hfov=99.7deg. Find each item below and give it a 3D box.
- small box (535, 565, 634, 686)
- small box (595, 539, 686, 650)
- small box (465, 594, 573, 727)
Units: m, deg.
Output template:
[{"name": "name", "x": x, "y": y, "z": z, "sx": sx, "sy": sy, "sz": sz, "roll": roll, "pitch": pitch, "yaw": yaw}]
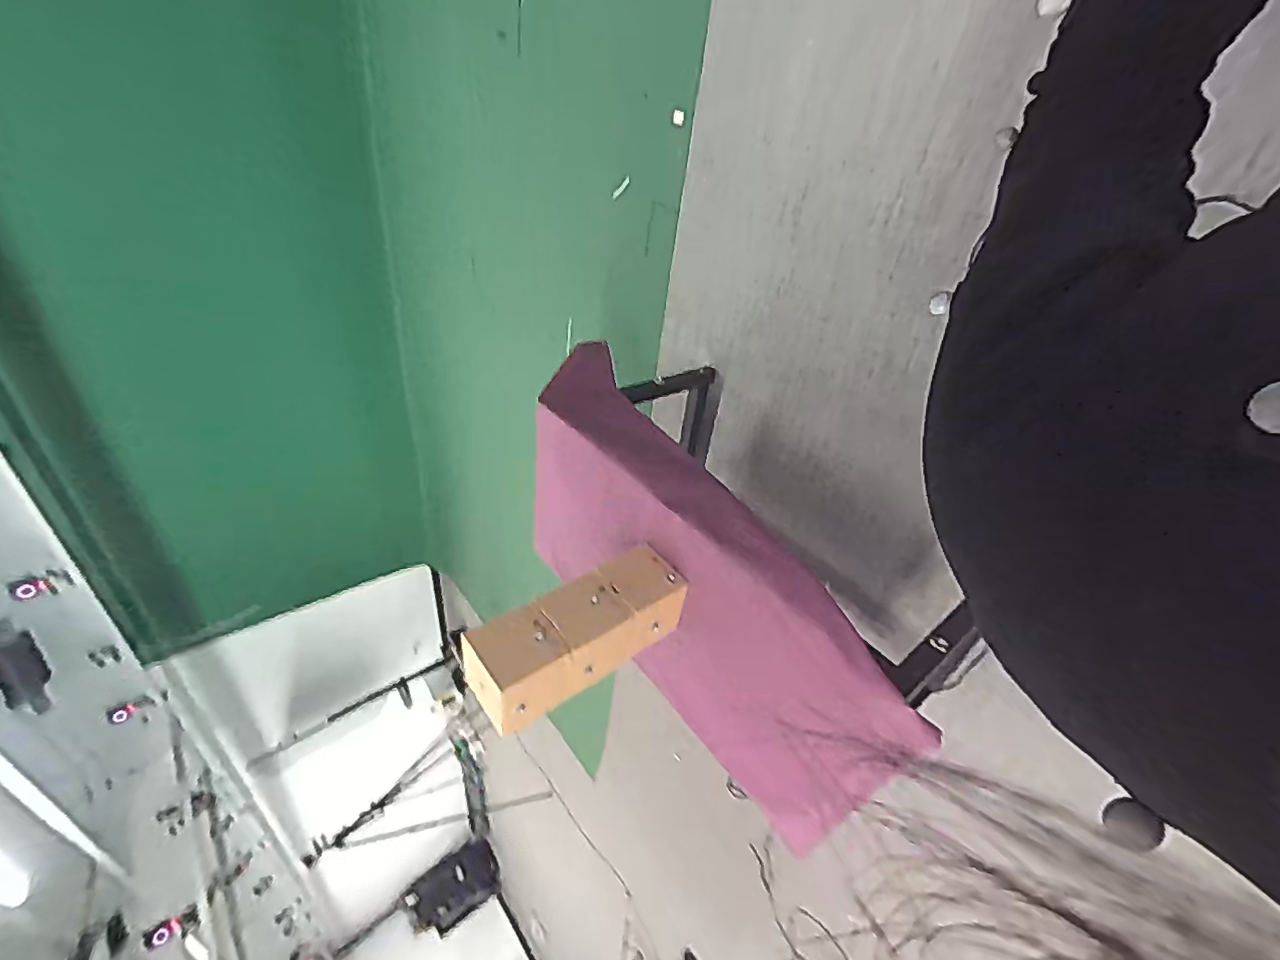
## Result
[{"name": "small box", "x": -0.132, "y": 0.330, "z": 1.250, "sx": 0.168, "sy": 0.176, "sz": 0.179, "roll": 40, "pitch": 135, "yaw": 34}, {"name": "small box", "x": -0.006, "y": 0.276, "z": 1.341, "sx": 0.168, "sy": 0.176, "sz": 0.179, "roll": 41, "pitch": 137, "yaw": 34}, {"name": "small box", "x": -0.258, "y": 0.380, "z": 1.159, "sx": 0.168, "sy": 0.176, "sz": 0.179, "roll": 40, "pitch": 135, "yaw": 34}]
